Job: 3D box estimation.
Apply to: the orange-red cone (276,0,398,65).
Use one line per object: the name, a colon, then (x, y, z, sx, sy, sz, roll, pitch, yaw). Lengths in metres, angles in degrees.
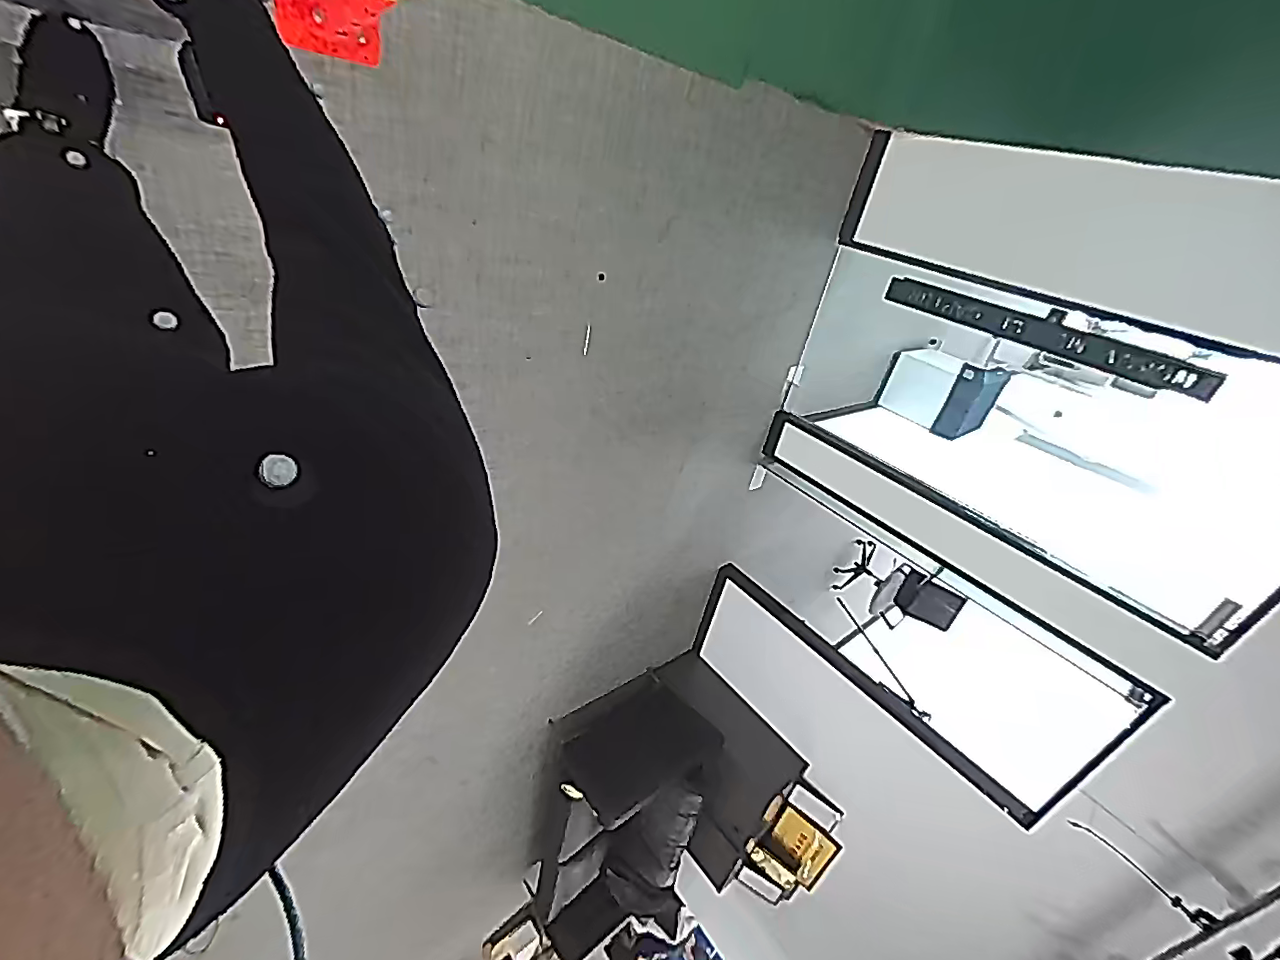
orange-red cone: (-0.523, -0.904, 0.998, 0.198, 0.360, 0.199, -15, 129, -39)
